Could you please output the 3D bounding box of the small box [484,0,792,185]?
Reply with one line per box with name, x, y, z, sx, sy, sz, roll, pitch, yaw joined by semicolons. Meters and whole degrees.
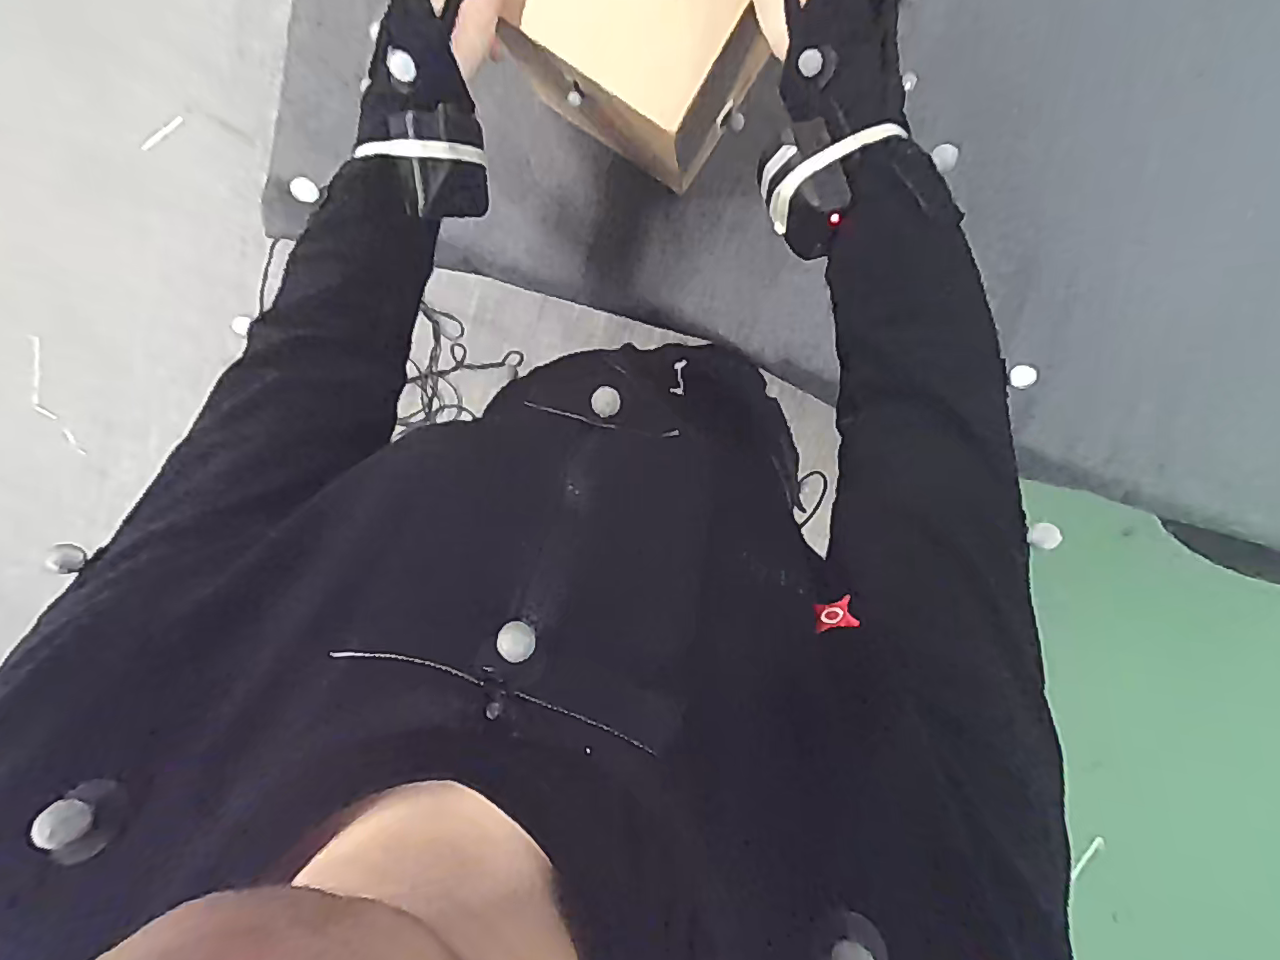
small box;0.010;-0.377;0.442;0.179;0.176;0.168;33;106;-2
